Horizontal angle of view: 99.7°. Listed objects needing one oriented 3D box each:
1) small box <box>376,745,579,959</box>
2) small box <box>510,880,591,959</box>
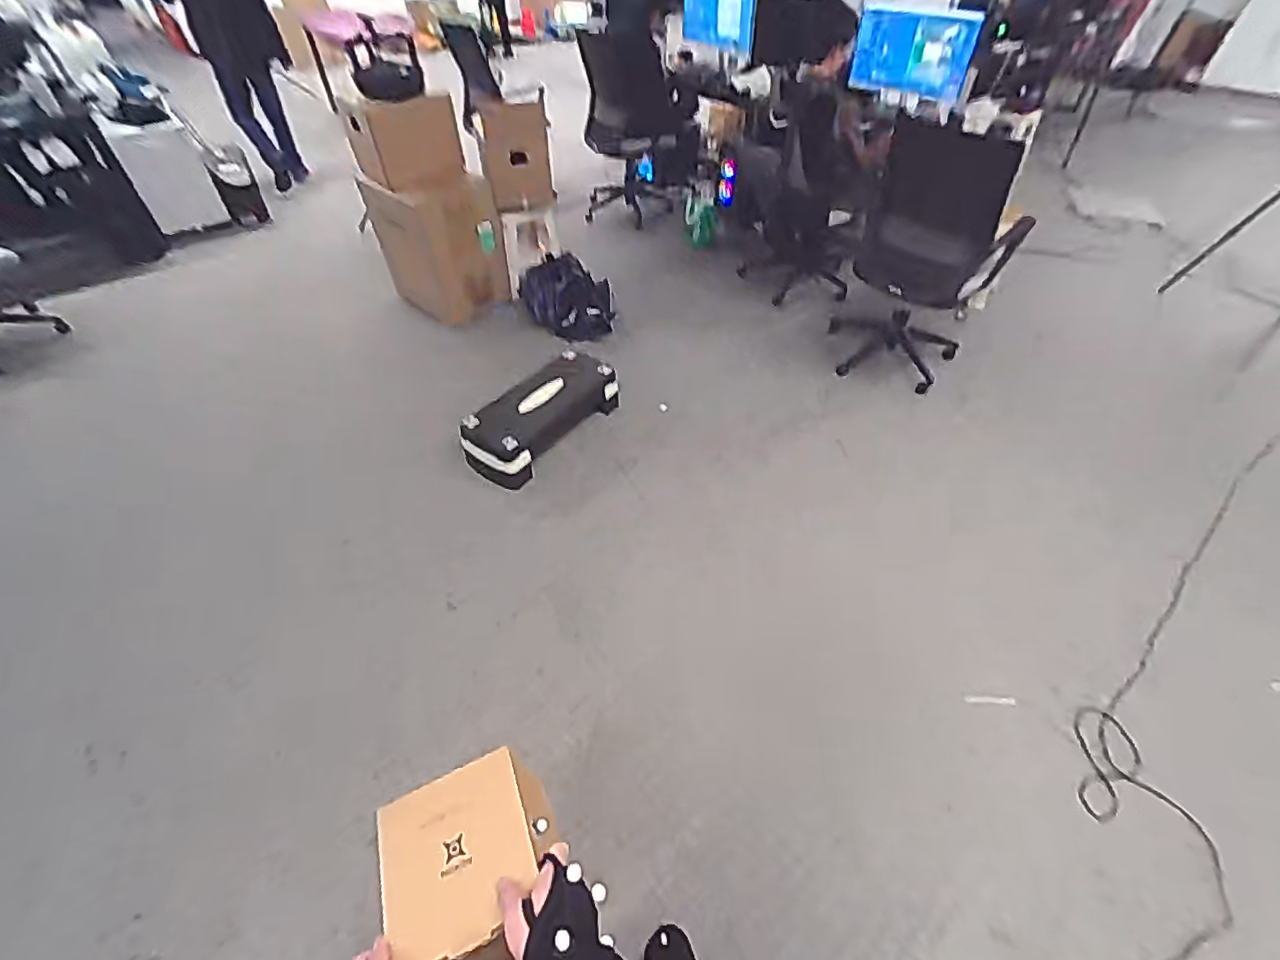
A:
[{"bbox_3d":[-0.189,0.464,0.648,0.168,0.176,0.179,-24,45,-12],"label":"small box"},{"bbox_3d":[-0.221,0.905,1.150,0.168,0.176,0.179,-33,56,-26],"label":"small box"}]
